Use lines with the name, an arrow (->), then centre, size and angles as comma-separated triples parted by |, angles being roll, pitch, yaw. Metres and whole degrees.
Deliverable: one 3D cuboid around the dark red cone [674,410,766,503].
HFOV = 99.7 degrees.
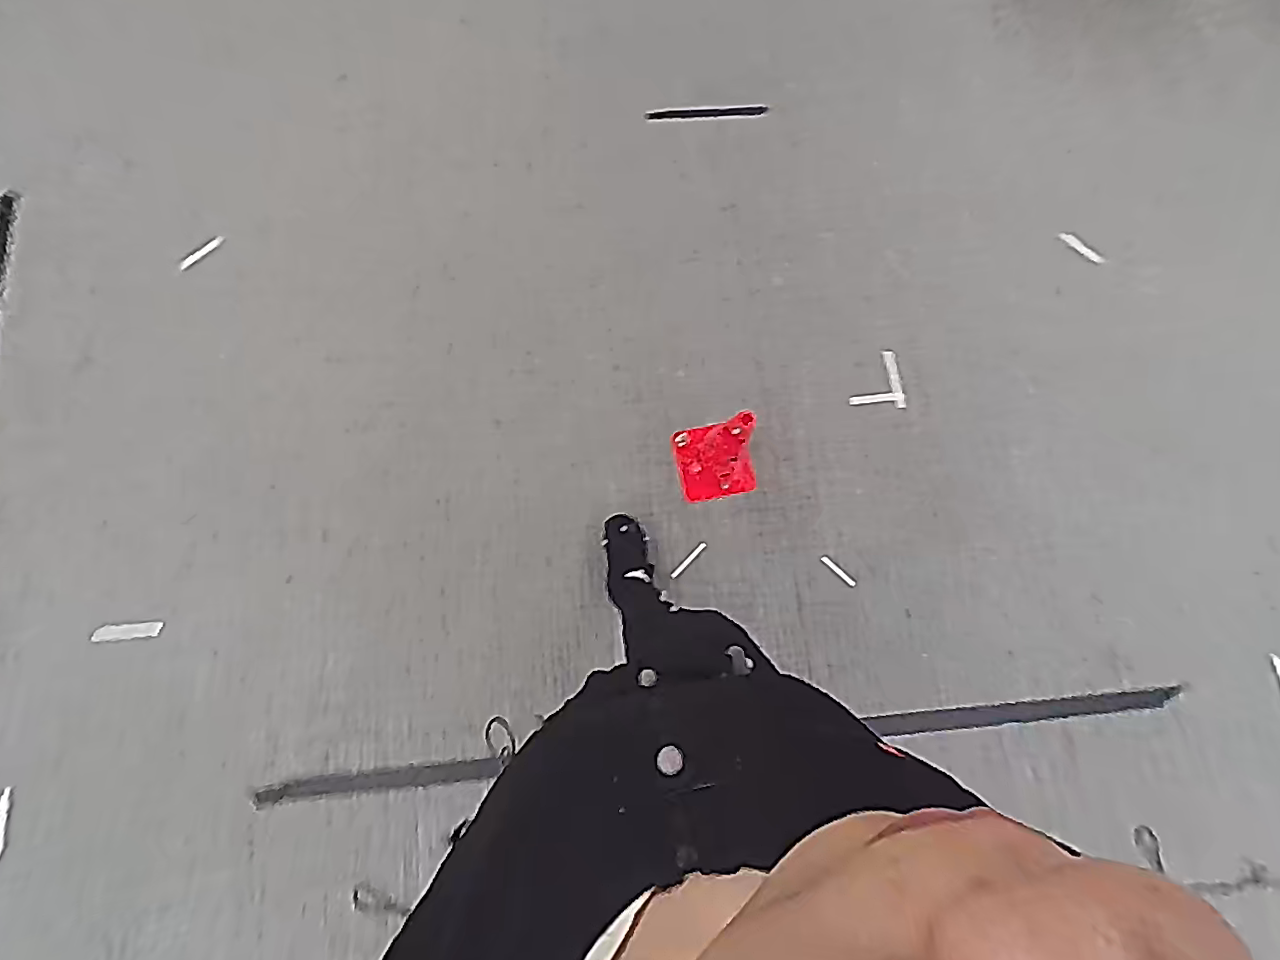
dark red cone -> 0.211, -0.083, 1.248 | 0.202, 0.394, 0.201 | -12, 80, -6
